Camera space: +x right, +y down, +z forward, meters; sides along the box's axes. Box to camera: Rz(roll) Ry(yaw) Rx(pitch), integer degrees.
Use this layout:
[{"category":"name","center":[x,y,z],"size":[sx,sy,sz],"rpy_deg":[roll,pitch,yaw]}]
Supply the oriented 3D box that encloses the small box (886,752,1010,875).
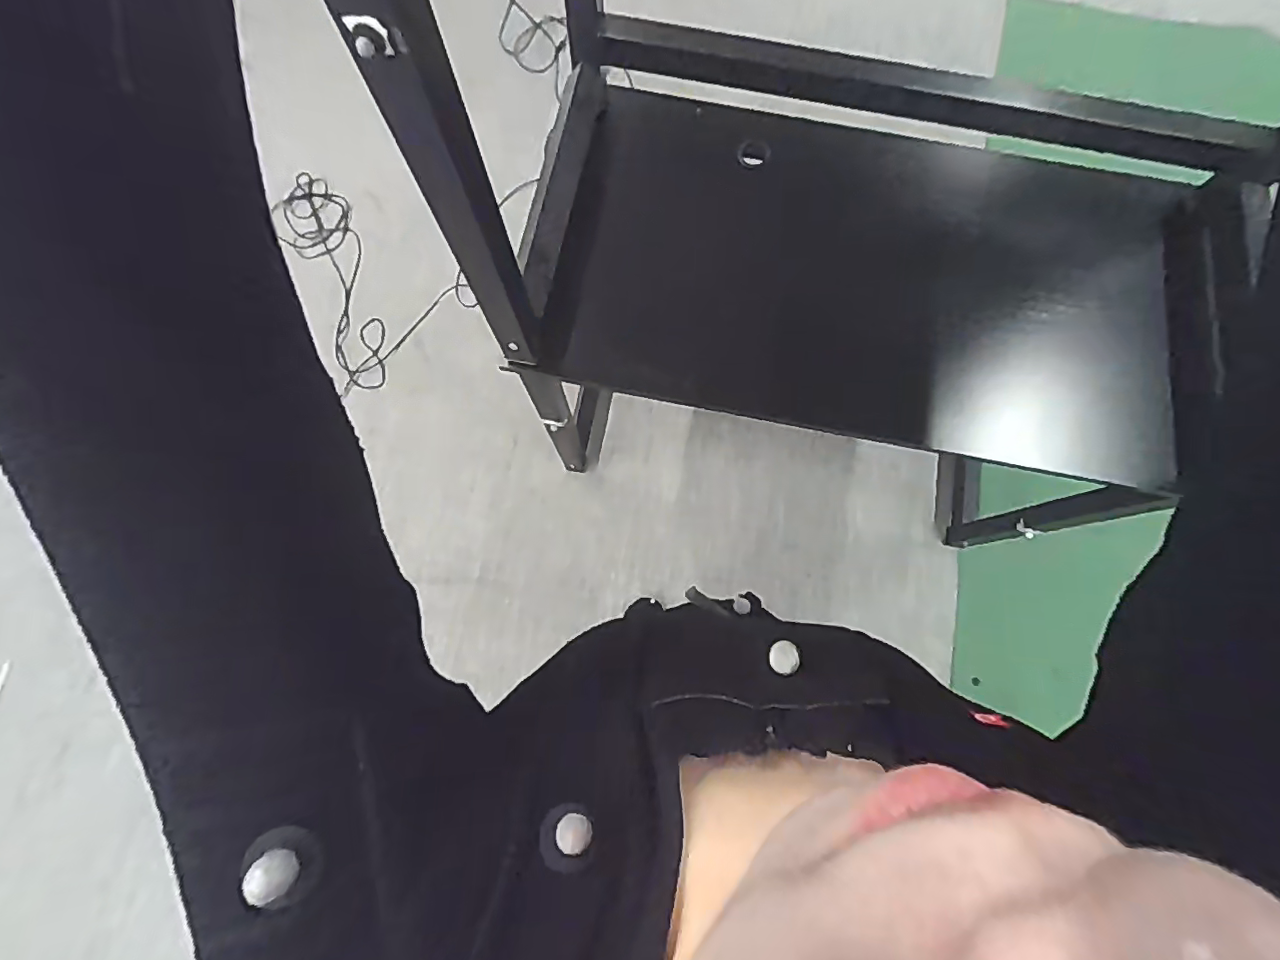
[{"category":"small box","center":[0.653,0.704,1.164],"size":[0.179,0.176,0.168],"rpy_deg":[11,77,1]}]
